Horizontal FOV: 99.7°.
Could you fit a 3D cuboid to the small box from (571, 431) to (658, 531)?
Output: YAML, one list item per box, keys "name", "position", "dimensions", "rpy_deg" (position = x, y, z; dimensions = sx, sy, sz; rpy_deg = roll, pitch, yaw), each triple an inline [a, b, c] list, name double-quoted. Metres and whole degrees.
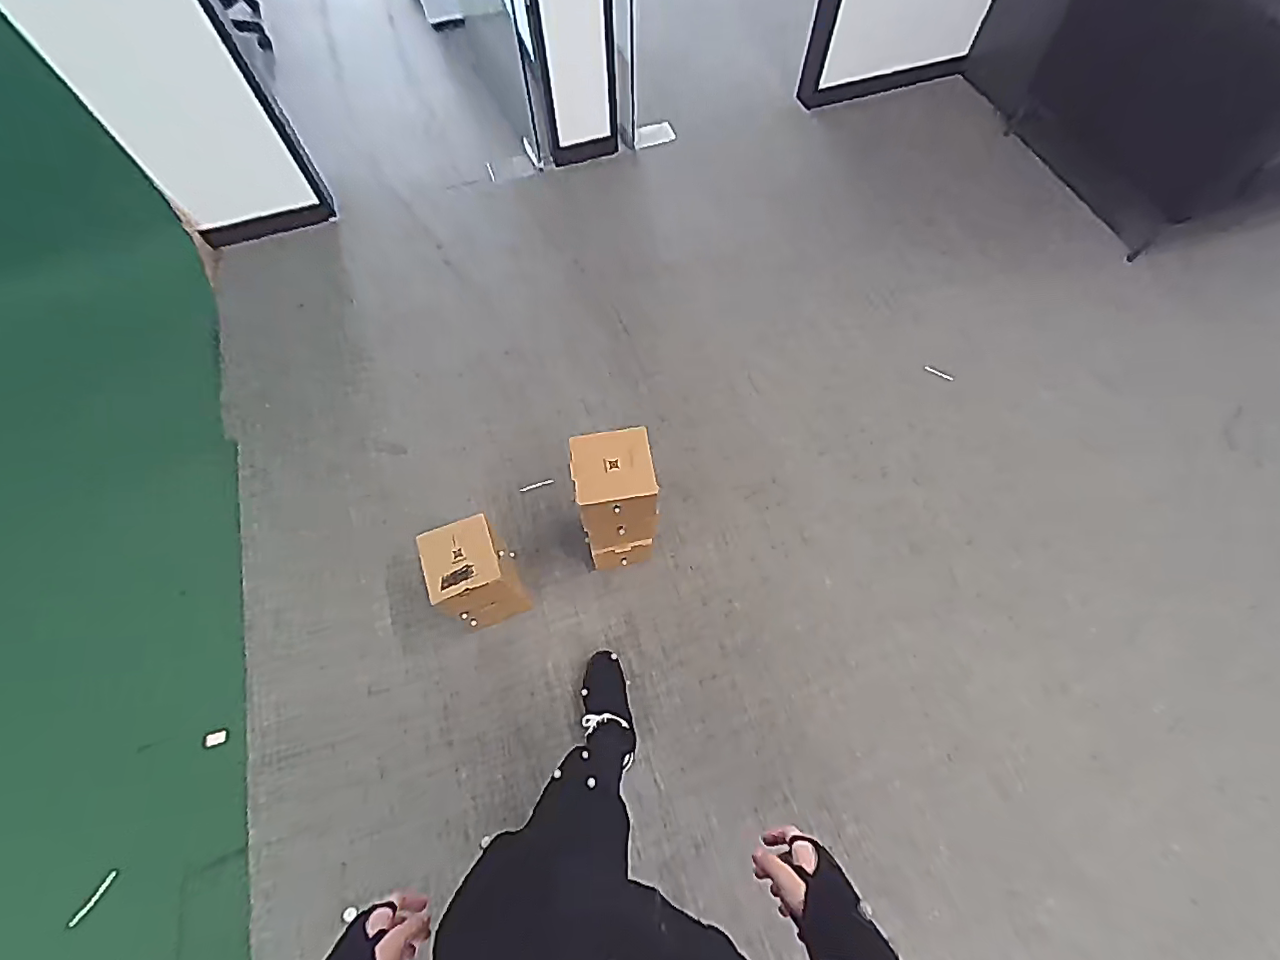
- name: "small box"
  position: [-0.055, 0.008, 1.237]
  dimensions: [0.179, 0.176, 0.168]
  rpy_deg: [-8, 66, -3]

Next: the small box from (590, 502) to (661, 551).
- name: "small box"
  position: [-0.051, 0.068, 1.390]
  dimensions: [0.179, 0.176, 0.168]
  rpy_deg: [-13, 65, -4]

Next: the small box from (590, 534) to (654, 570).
- name: "small box"
  position: [-0.056, 0.146, 1.532]
  dimensions: [0.168, 0.176, 0.179]
  rpy_deg: [-11, 66, -5]

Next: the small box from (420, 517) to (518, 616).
- name: "small box"
  position: [-0.410, 0.220, 1.321]
  dimensions: [0.168, 0.176, 0.179]
  rpy_deg: [-20, 65, -9]
